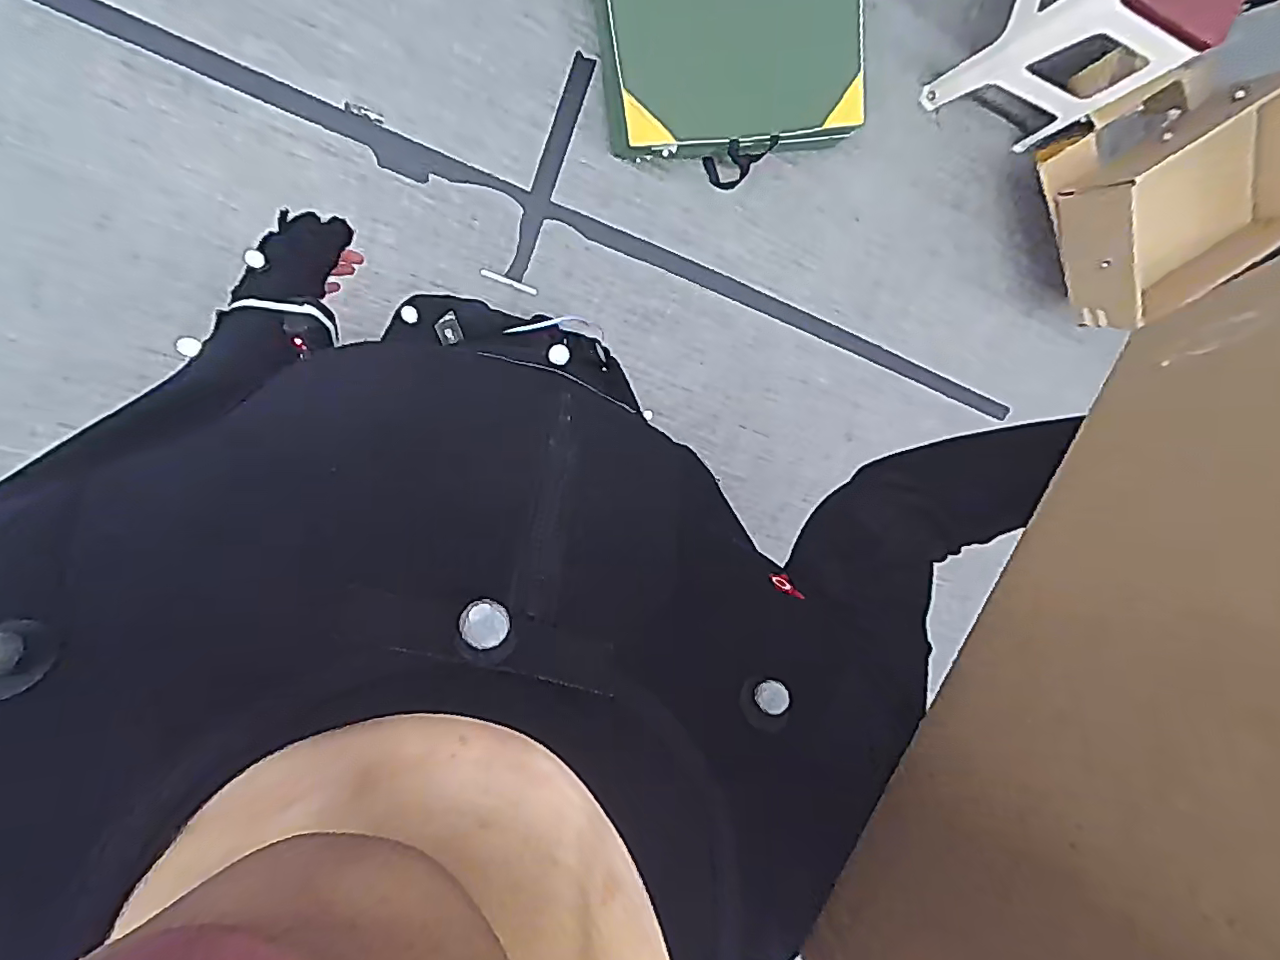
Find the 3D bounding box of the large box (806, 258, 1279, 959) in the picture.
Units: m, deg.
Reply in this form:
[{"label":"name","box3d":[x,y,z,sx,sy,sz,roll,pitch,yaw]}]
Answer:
[{"label":"large box","box3d":[0.331,0.089,0.125,0.320,0.320,0.408,46,67,1]}]
